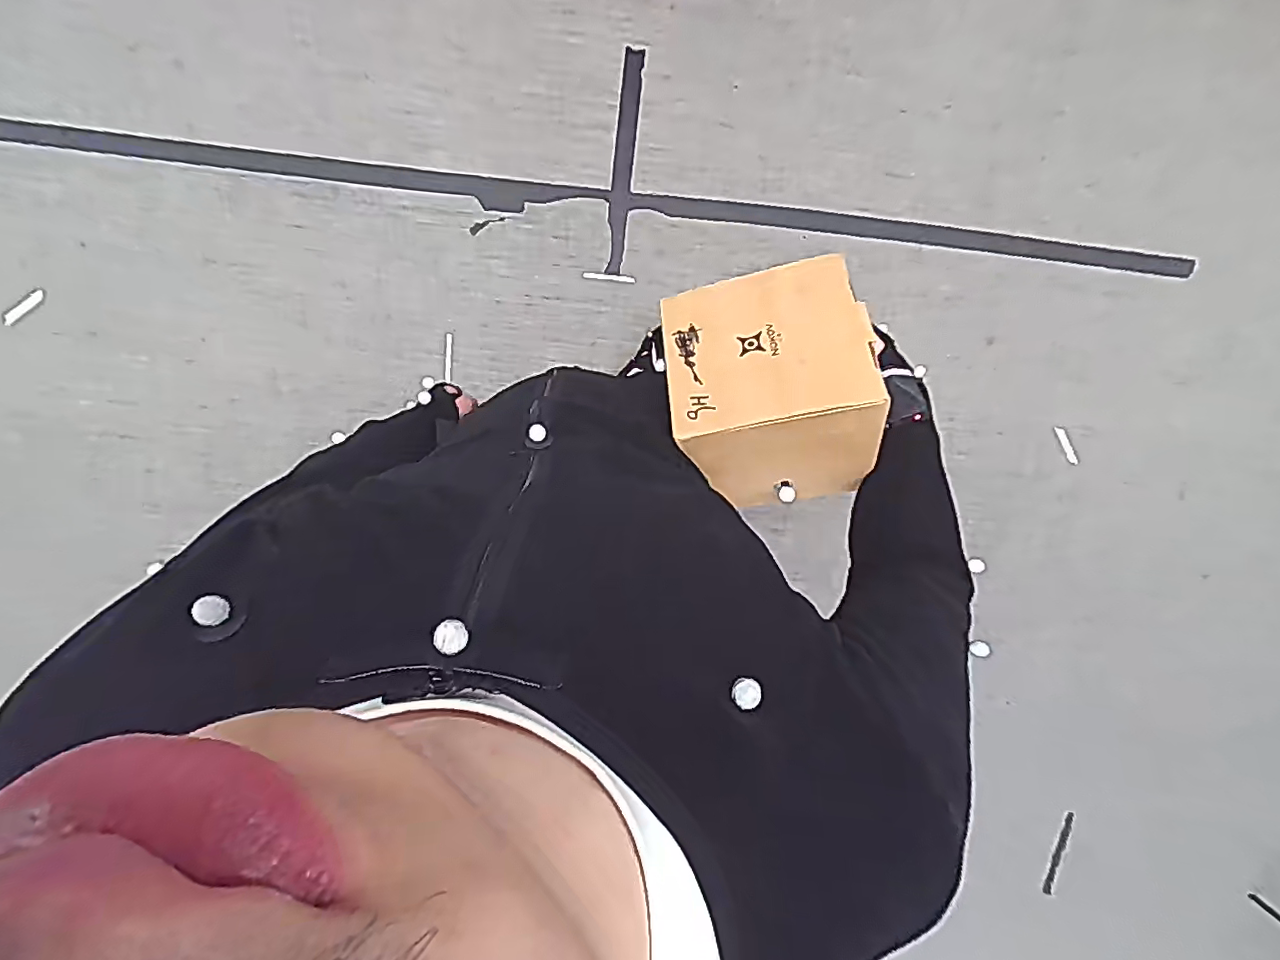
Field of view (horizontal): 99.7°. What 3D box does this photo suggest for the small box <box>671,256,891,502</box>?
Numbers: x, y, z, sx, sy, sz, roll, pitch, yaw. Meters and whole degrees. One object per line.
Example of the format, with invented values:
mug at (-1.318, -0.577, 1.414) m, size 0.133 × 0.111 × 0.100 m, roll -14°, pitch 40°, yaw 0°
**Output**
small box at (0.138, -0.092, 0.560) m, size 0.179 × 0.176 × 0.168 m, roll -10°, pitch 62°, yaw 13°
